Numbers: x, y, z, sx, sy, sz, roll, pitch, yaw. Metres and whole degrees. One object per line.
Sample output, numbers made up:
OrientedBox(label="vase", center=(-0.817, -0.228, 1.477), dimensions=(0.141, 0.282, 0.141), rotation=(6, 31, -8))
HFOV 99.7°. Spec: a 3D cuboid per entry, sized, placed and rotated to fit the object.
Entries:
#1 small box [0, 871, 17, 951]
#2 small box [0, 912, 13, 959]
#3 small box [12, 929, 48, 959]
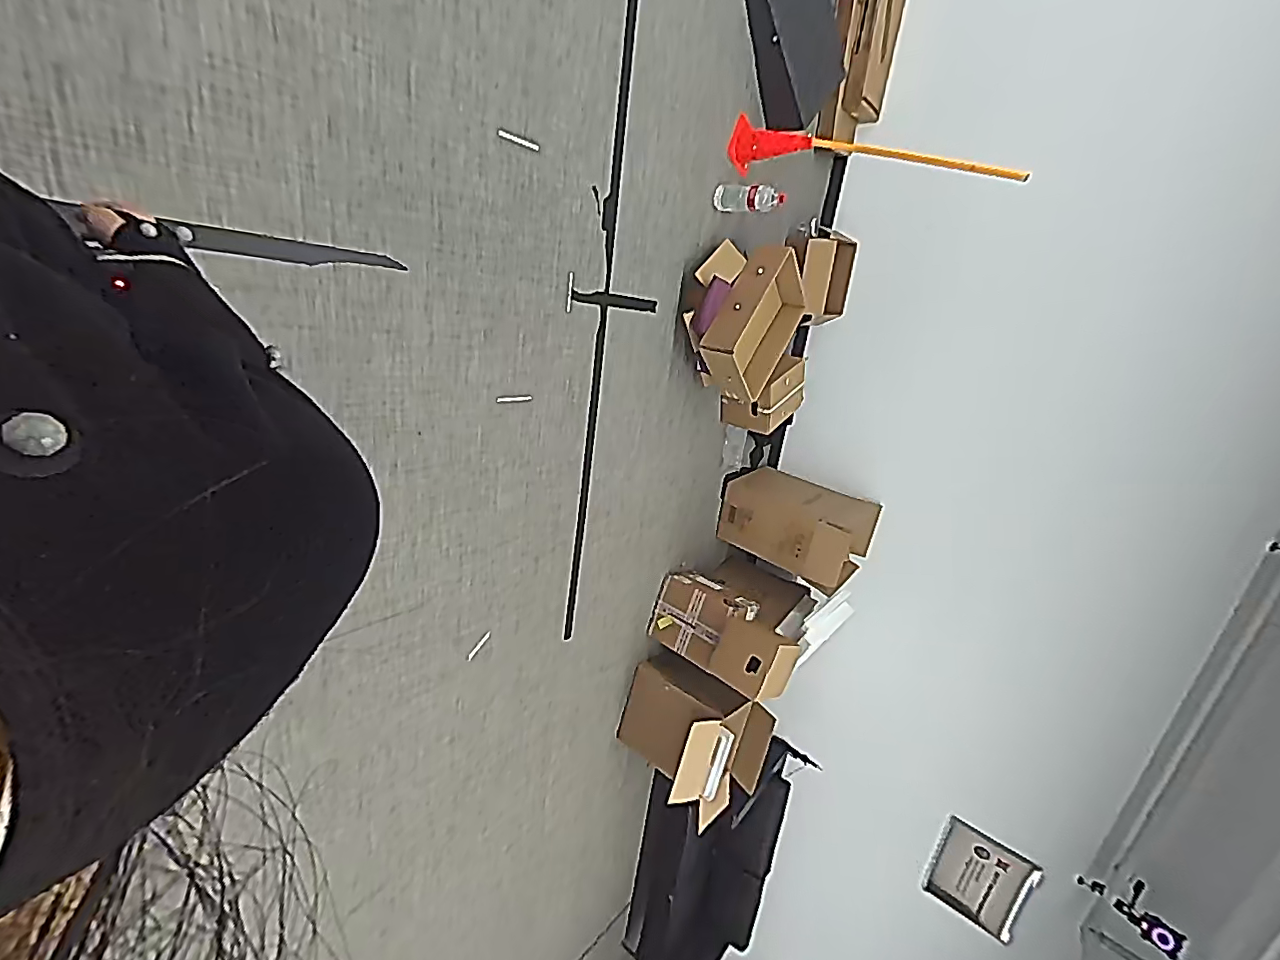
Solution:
OrientedBox(label="small box", center=(-1.410, 0.894, 1.088), dimensions=(0.168, 0.176, 0.179), rotation=(-18, 123, -49))
OrientedBox(label="small box", center=(-1.286, 0.956, 0.998), dimensions=(0.168, 0.176, 0.179), rotation=(-14, 119, -51))
OrientedBox(label="small box", center=(-1.436, 1.154, 1.192), dimensions=(0.168, 0.176, 0.179), rotation=(-24, 126, -46))
